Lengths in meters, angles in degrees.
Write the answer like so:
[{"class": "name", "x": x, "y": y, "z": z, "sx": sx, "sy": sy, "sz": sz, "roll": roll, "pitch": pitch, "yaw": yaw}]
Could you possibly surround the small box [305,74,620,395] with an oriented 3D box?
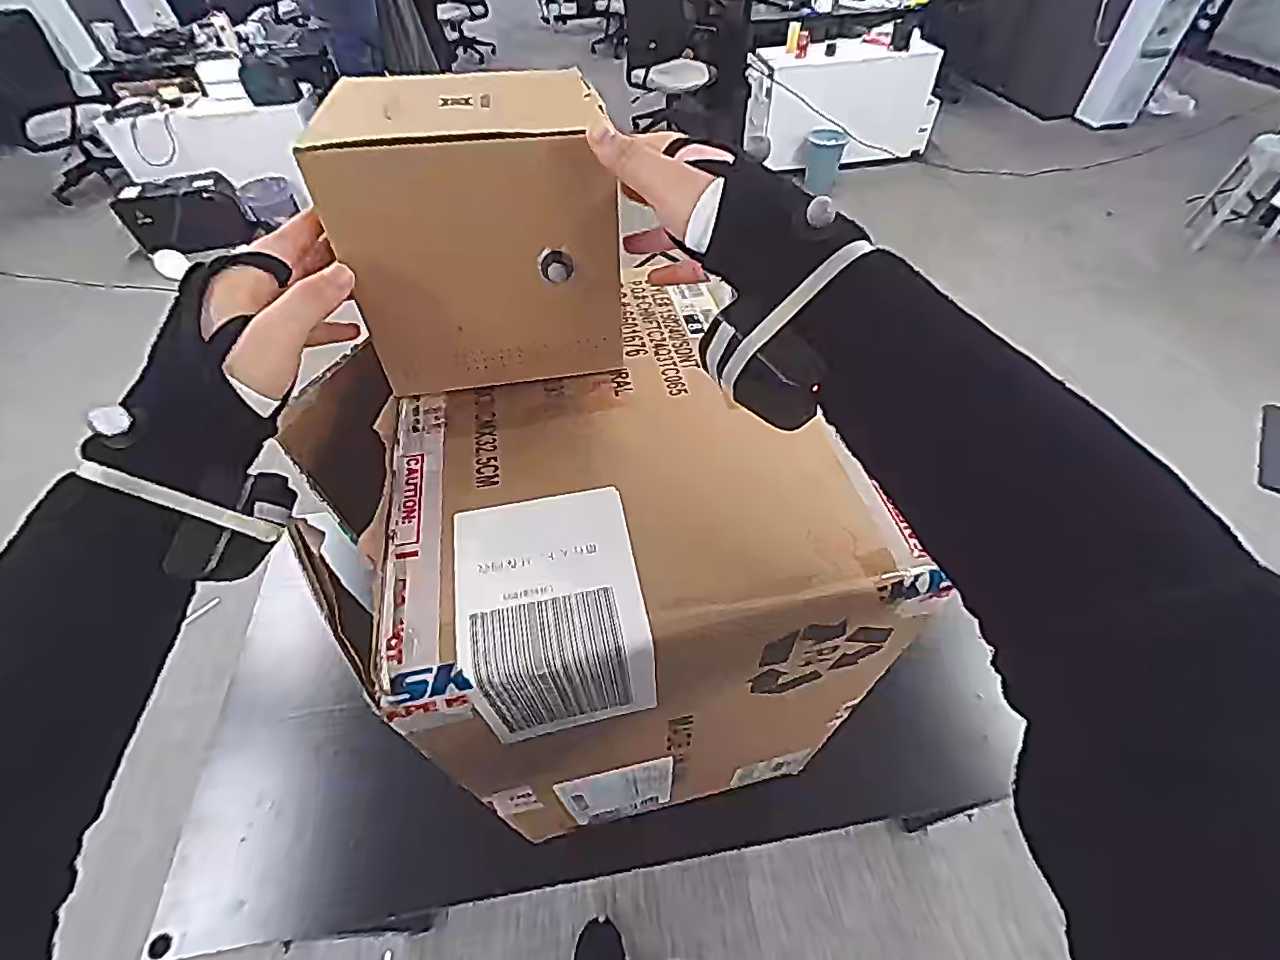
[{"class": "small box", "x": -0.113, "y": -0.186, "z": 0.415, "sx": 0.179, "sy": 0.176, "sz": 0.168, "roll": -10, "pitch": 47, "yaw": -7}]
